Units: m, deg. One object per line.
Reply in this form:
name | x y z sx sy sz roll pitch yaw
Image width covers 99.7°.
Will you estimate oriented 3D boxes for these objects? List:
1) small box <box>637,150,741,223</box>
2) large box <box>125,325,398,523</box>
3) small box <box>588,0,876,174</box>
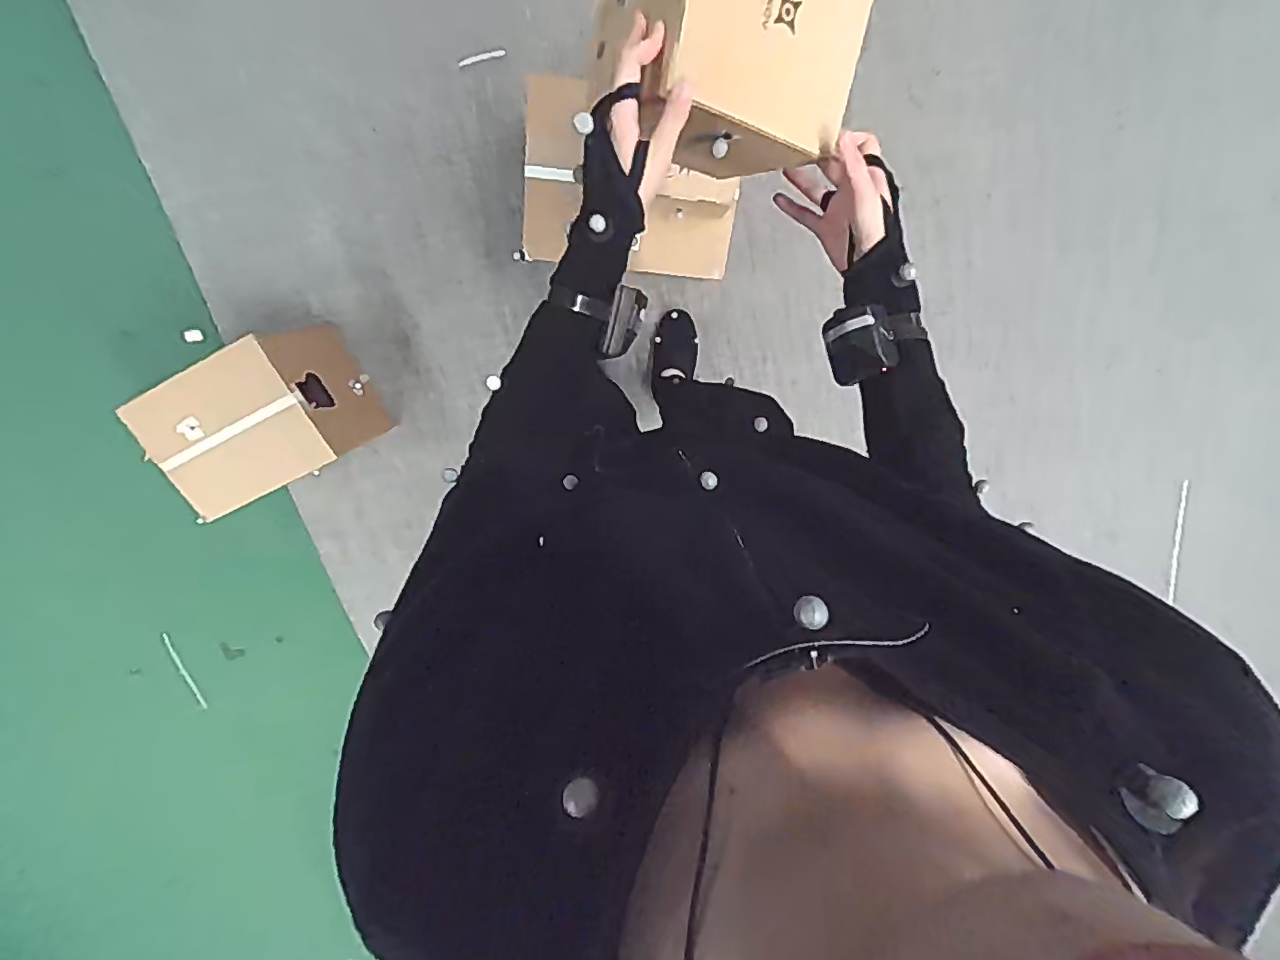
small box | 0.087 -0.556 0.923 0.168 0.176 0.179 8 108 0
large box | -0.916 -0.154 1.363 0.408 0.320 0.320 -23 106 11
small box | 0.074 -0.384 0.476 0.179 0.176 0.168 0 111 -29
